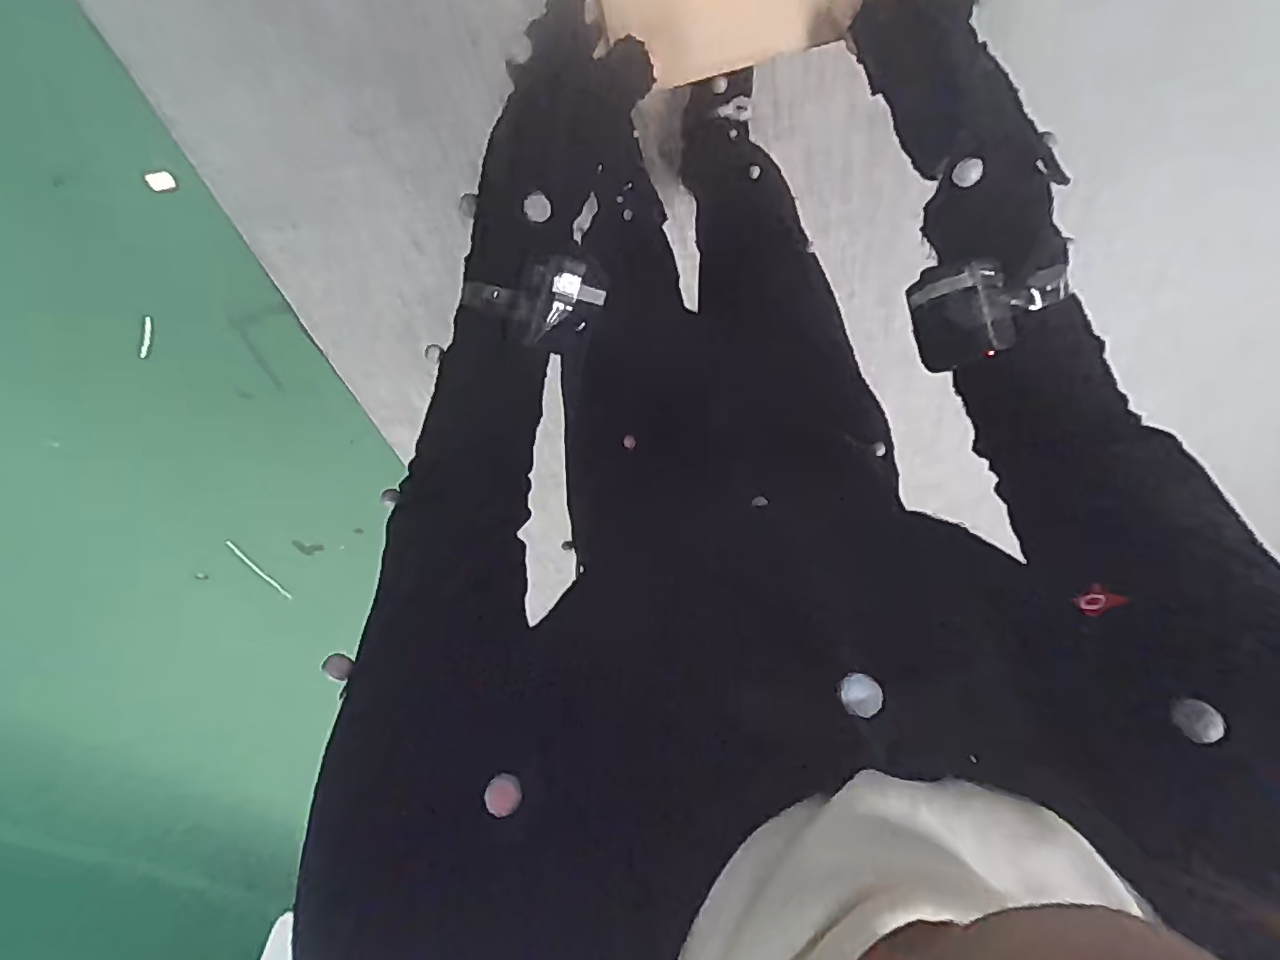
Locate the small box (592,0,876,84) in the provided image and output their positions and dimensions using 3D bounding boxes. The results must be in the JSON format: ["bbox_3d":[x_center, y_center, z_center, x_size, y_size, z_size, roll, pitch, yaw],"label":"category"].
[{"bbox_3d":[0.048,-0.389,0.370,0.179,0.176,0.168,-10,126,3],"label":"small box"}]
